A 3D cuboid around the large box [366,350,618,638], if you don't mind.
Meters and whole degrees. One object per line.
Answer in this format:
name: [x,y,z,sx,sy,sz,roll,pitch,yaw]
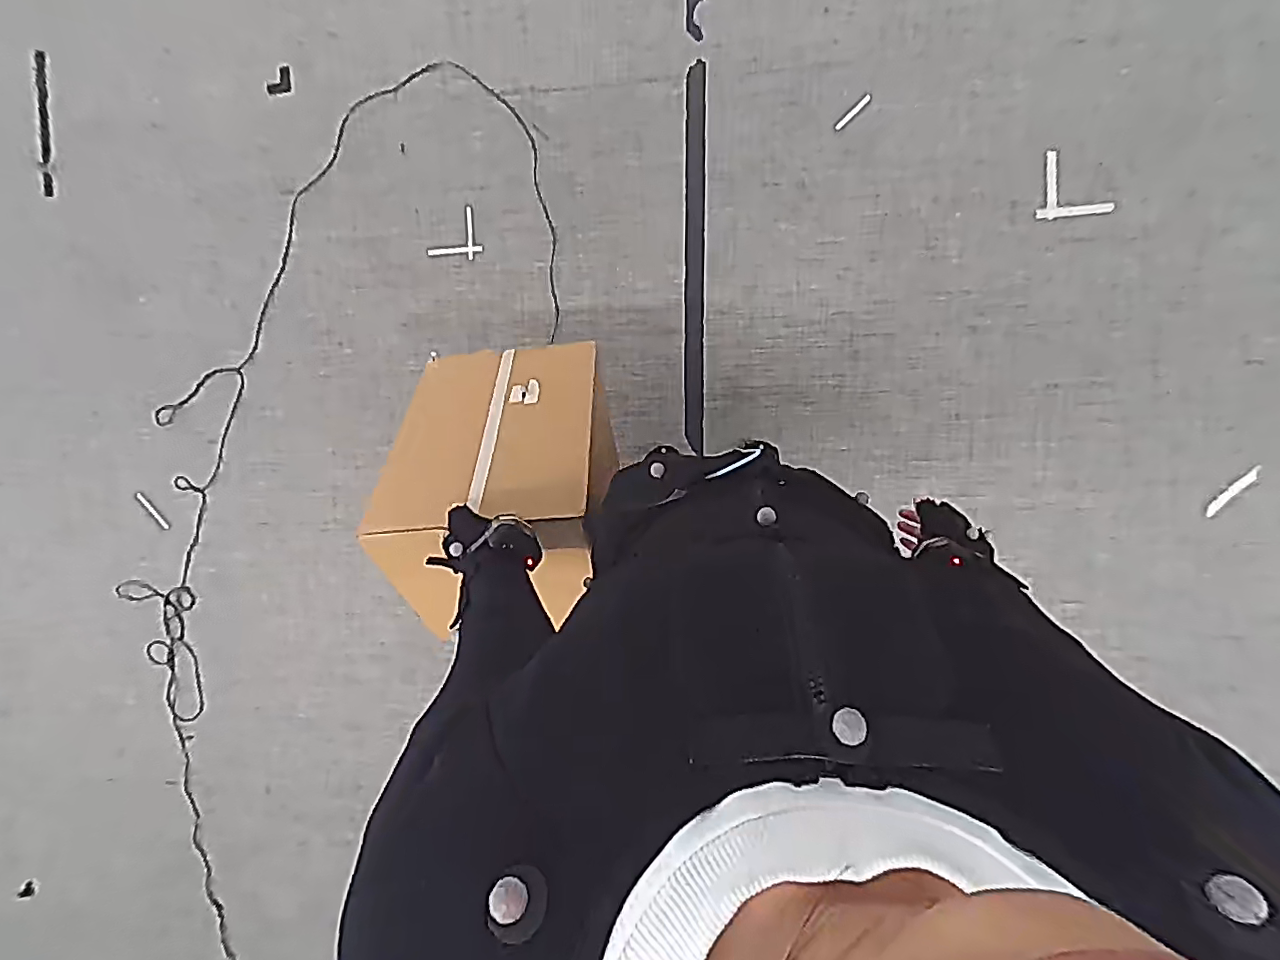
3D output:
large box: [-0.215,0.023,0.972,0.320,0.408,0.320,-4,137,4]
